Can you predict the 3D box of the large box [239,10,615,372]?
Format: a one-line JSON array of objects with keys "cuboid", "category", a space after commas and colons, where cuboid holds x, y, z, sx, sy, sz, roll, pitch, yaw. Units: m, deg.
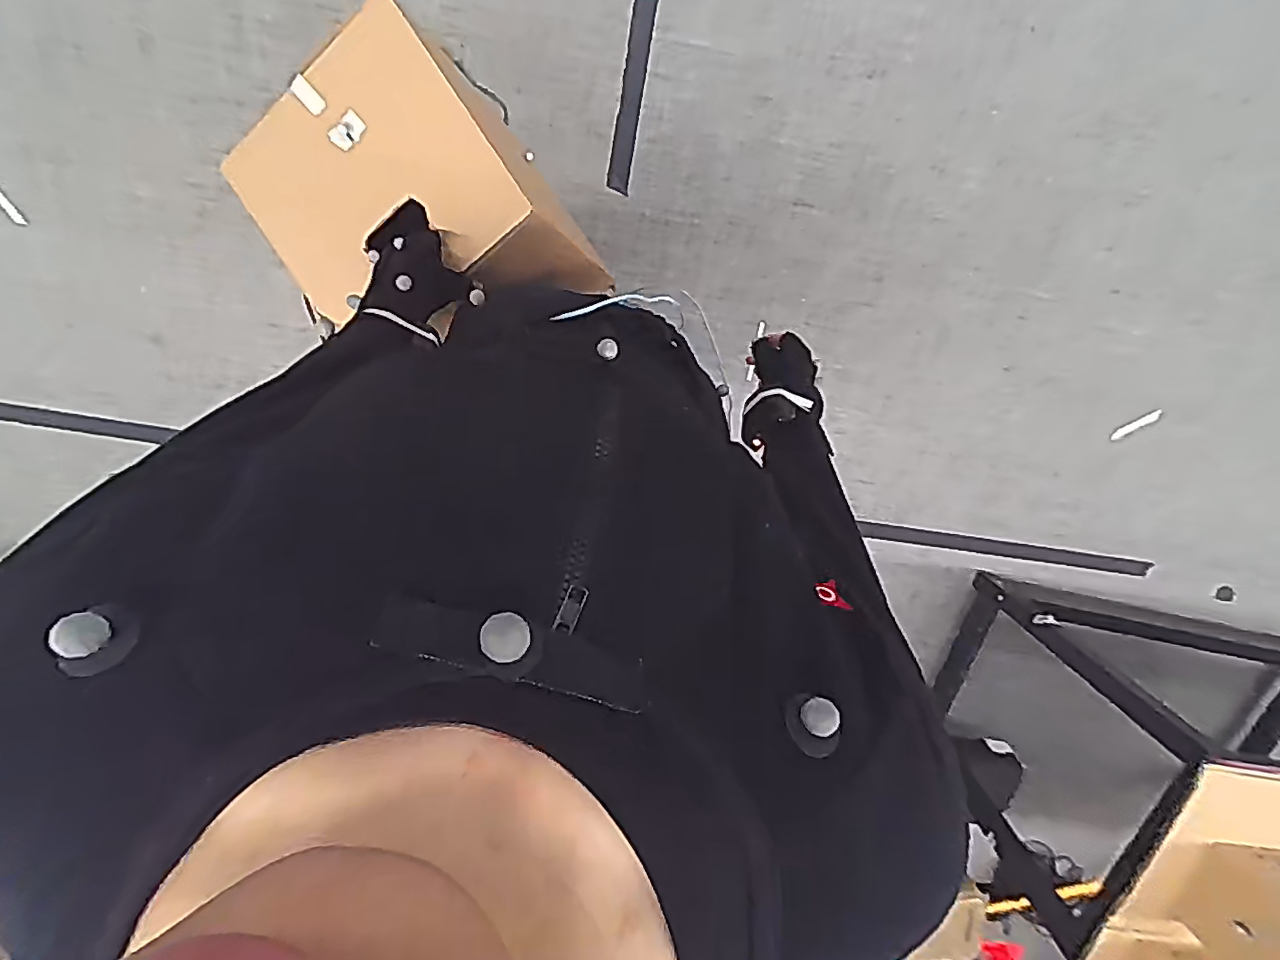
[{"cuboid": [-0.293, -0.391, 0.863, 0.320, 0.408, 0.320, -33, 91, 15], "category": "large box"}]
